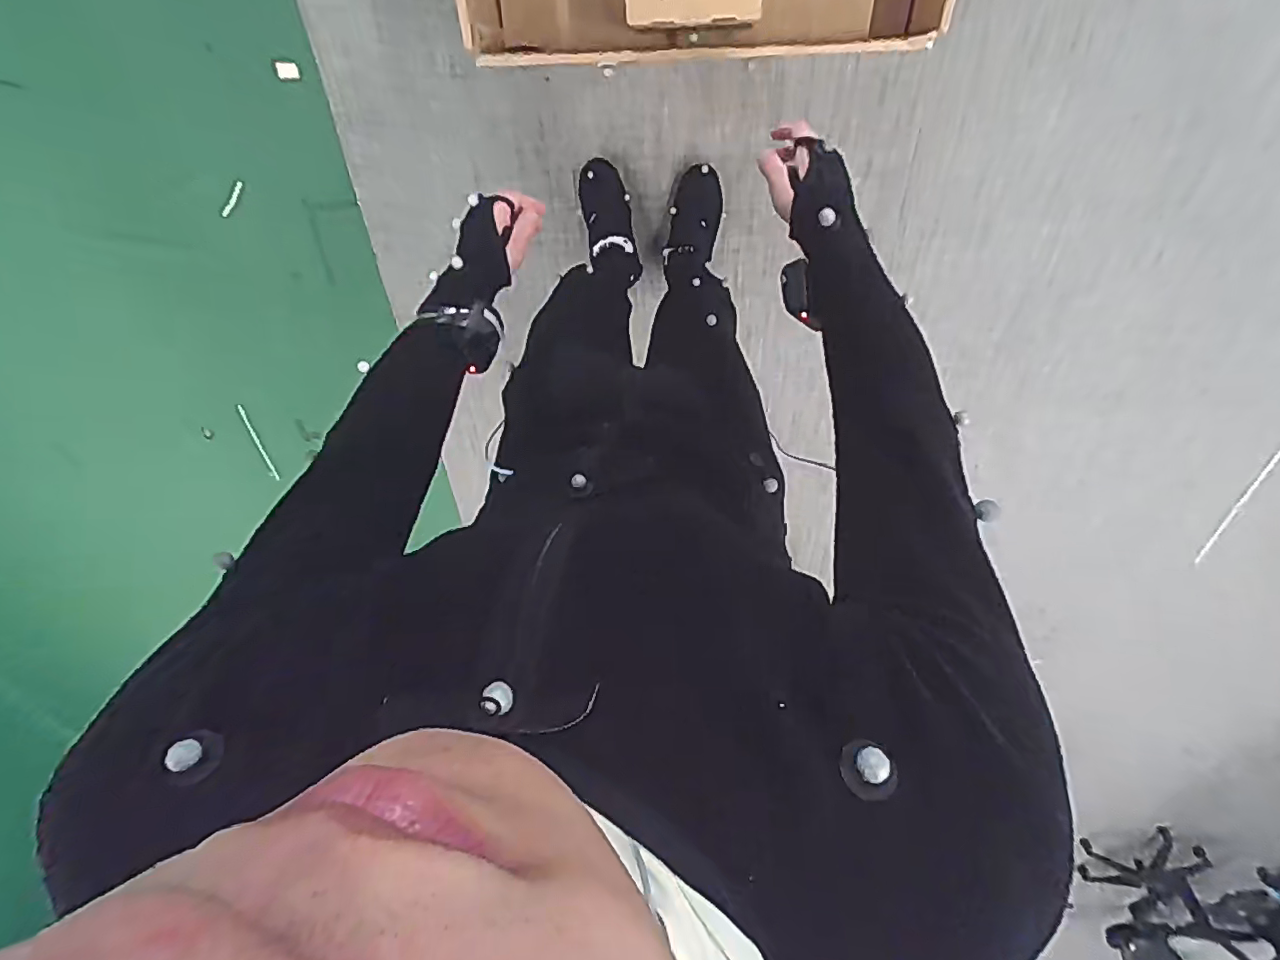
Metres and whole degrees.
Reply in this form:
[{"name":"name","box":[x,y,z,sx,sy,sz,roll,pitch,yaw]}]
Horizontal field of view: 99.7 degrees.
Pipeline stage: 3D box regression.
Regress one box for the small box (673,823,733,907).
[{"name":"small box","box":[0.201,1.195,1.685,0.179,0.176,0.168,-2,127,9]}]
